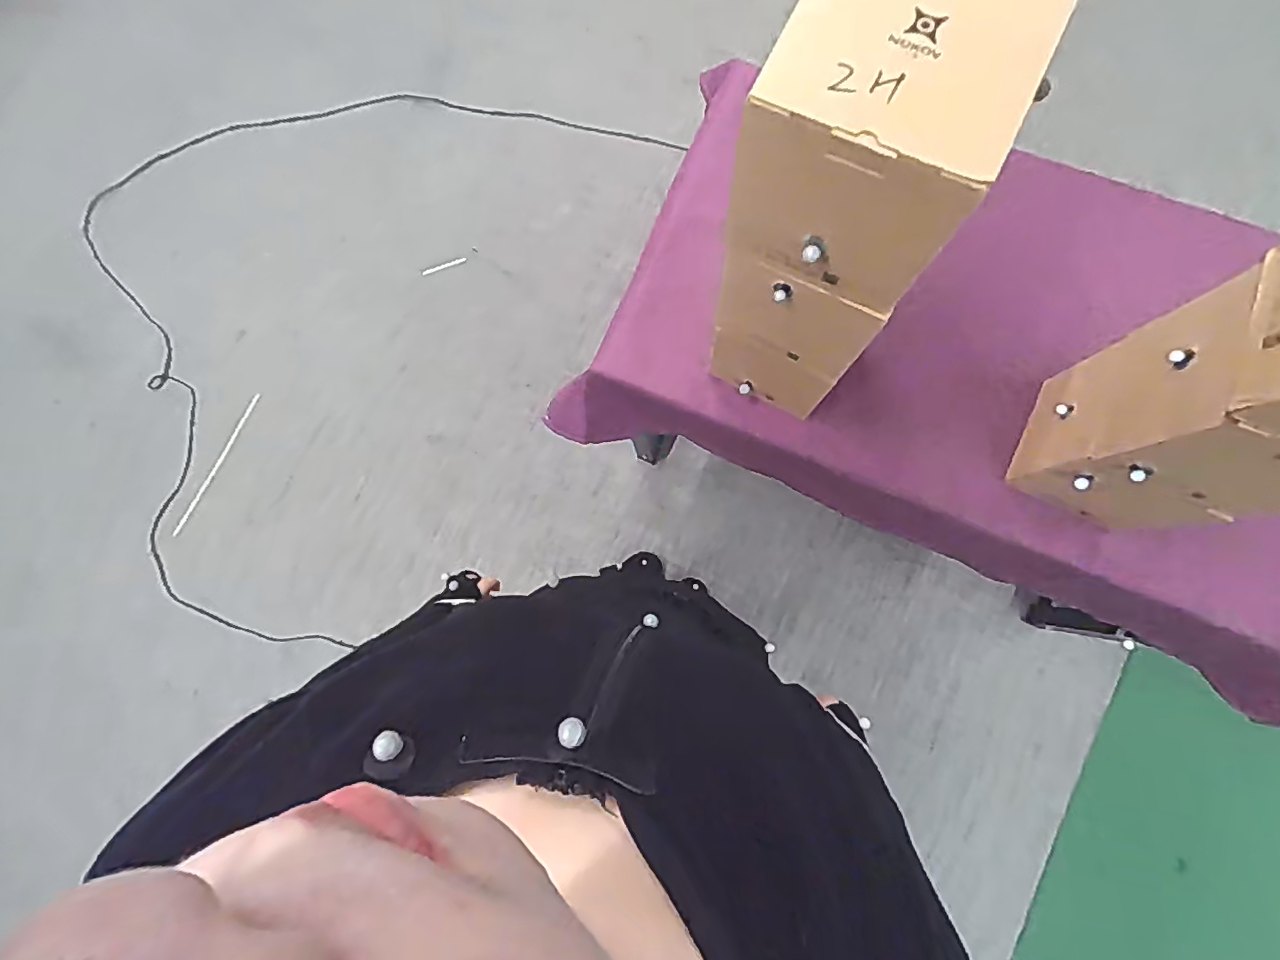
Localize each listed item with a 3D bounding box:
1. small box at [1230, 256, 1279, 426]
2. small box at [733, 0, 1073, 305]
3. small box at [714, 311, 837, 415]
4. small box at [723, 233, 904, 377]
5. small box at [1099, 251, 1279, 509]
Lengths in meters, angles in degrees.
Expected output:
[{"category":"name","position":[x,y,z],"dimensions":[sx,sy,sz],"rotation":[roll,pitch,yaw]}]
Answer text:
[{"category":"small box","position":[0.605,-0.114,0.381],"dimensions":[0.179,0.176,0.168],"rotation":[21,82,8]},{"category":"small box","position":[0.185,-0.279,0.435],"dimensions":[0.168,0.176,0.179],"rotation":[27,83,8]},{"category":"small box","position":[0.213,-0.218,0.758],"dimensions":[0.168,0.176,0.179],"rotation":[28,84,8]},{"category":"small box","position":[0.202,-0.245,0.596],"dimensions":[0.168,0.176,0.179],"rotation":[28,82,9]},{"category":"small box","position":[0.618,-0.084,0.541],"dimensions":[0.168,0.176,0.179],"rotation":[23,81,7]}]
